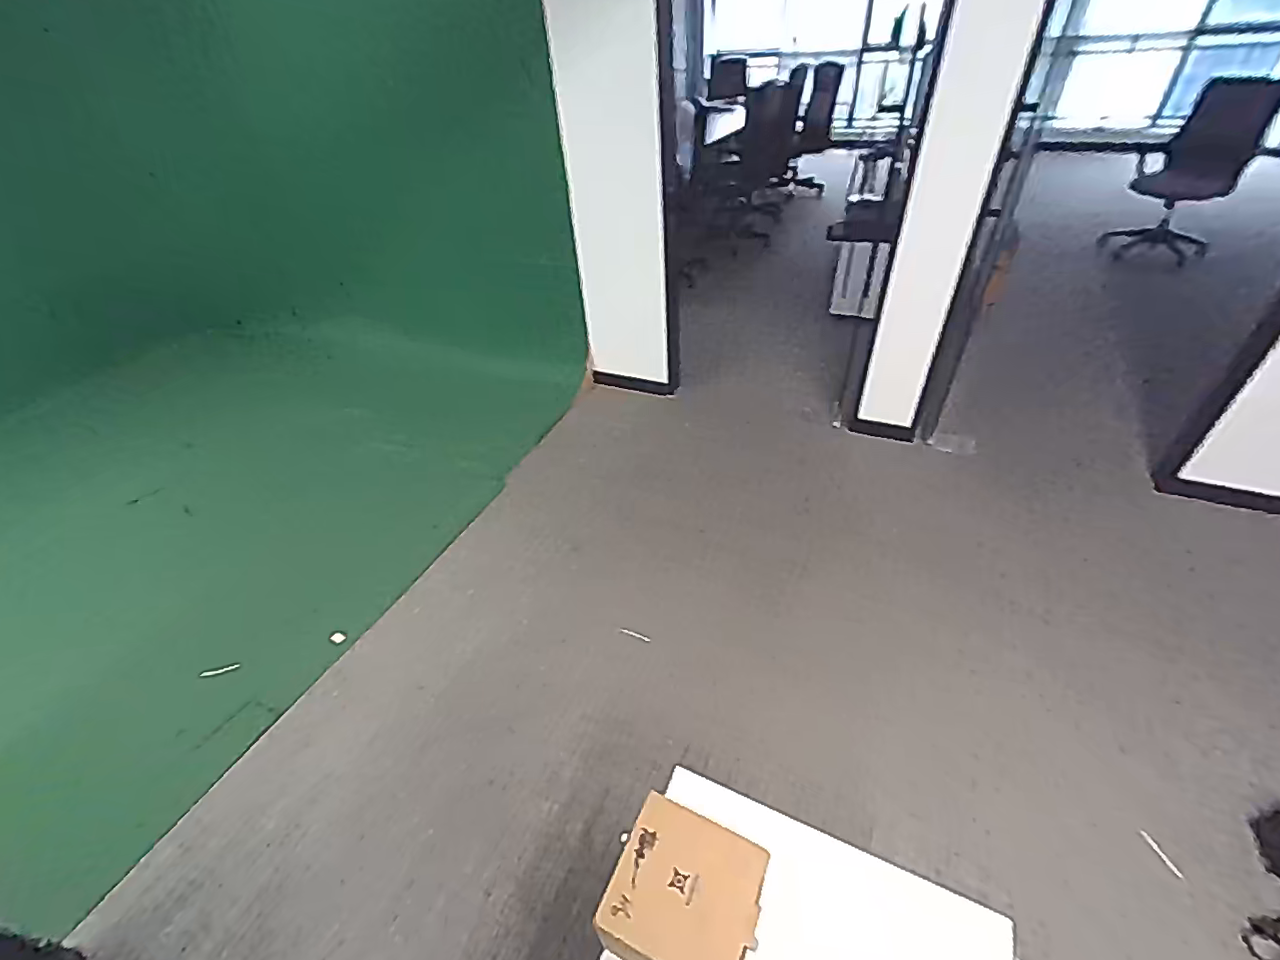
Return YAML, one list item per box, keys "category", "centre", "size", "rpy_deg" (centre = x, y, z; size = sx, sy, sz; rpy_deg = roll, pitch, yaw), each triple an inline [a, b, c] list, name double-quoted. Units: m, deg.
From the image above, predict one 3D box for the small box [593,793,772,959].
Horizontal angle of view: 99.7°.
- category: "small box"
  centre: [0.059, 0.564, 0.720]
  size: [0.179, 0.176, 0.168]
  rpy_deg: [17, 45, 21]
